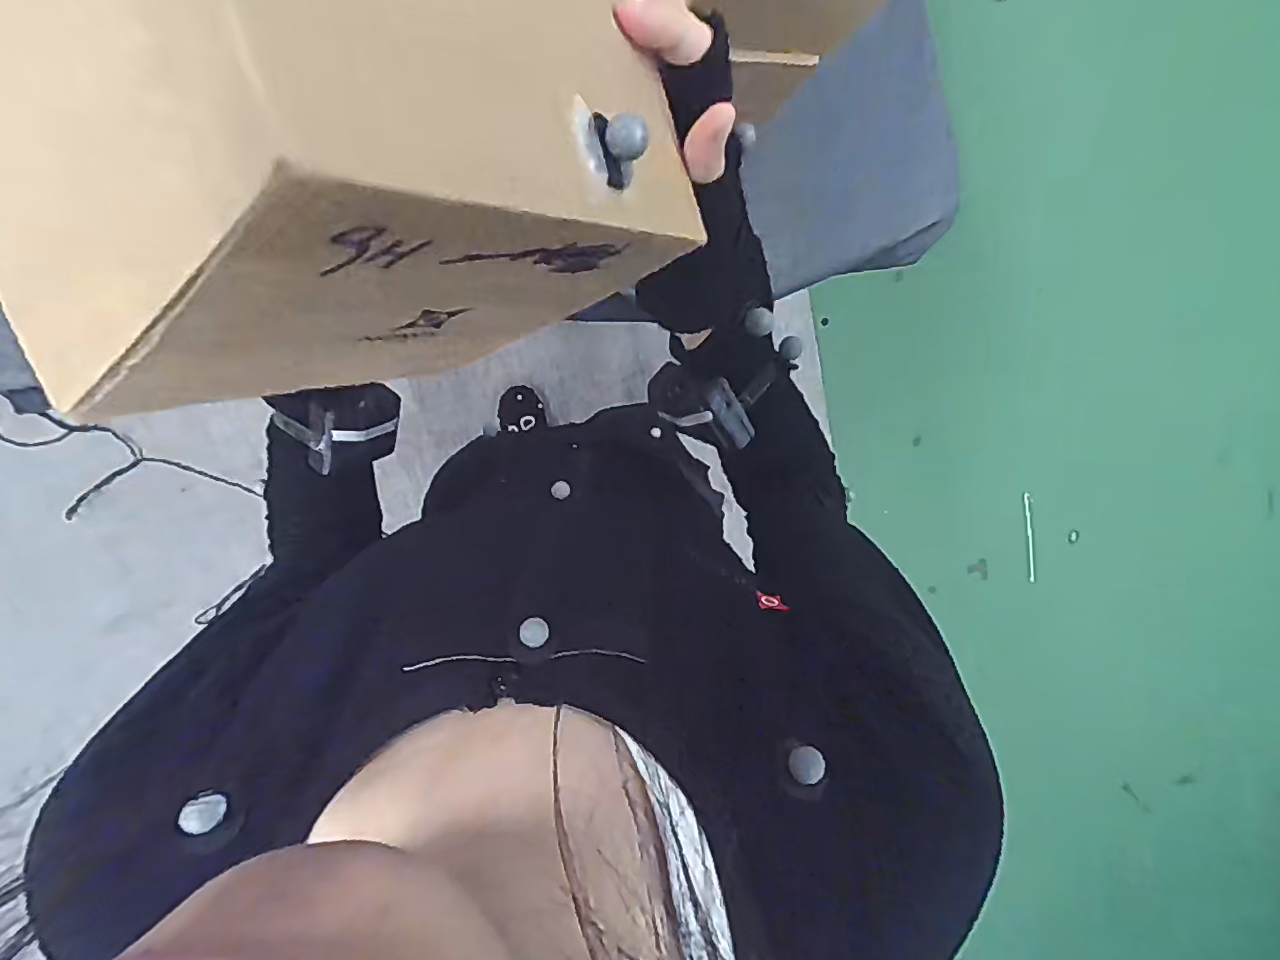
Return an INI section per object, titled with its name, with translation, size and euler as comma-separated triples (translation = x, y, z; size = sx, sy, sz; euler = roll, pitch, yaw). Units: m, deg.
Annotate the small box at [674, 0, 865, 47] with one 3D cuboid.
[small box]
translation = 0.128, -0.507, 0.457
size = 0.179, 0.176, 0.168
euler = -5, 101, -11
